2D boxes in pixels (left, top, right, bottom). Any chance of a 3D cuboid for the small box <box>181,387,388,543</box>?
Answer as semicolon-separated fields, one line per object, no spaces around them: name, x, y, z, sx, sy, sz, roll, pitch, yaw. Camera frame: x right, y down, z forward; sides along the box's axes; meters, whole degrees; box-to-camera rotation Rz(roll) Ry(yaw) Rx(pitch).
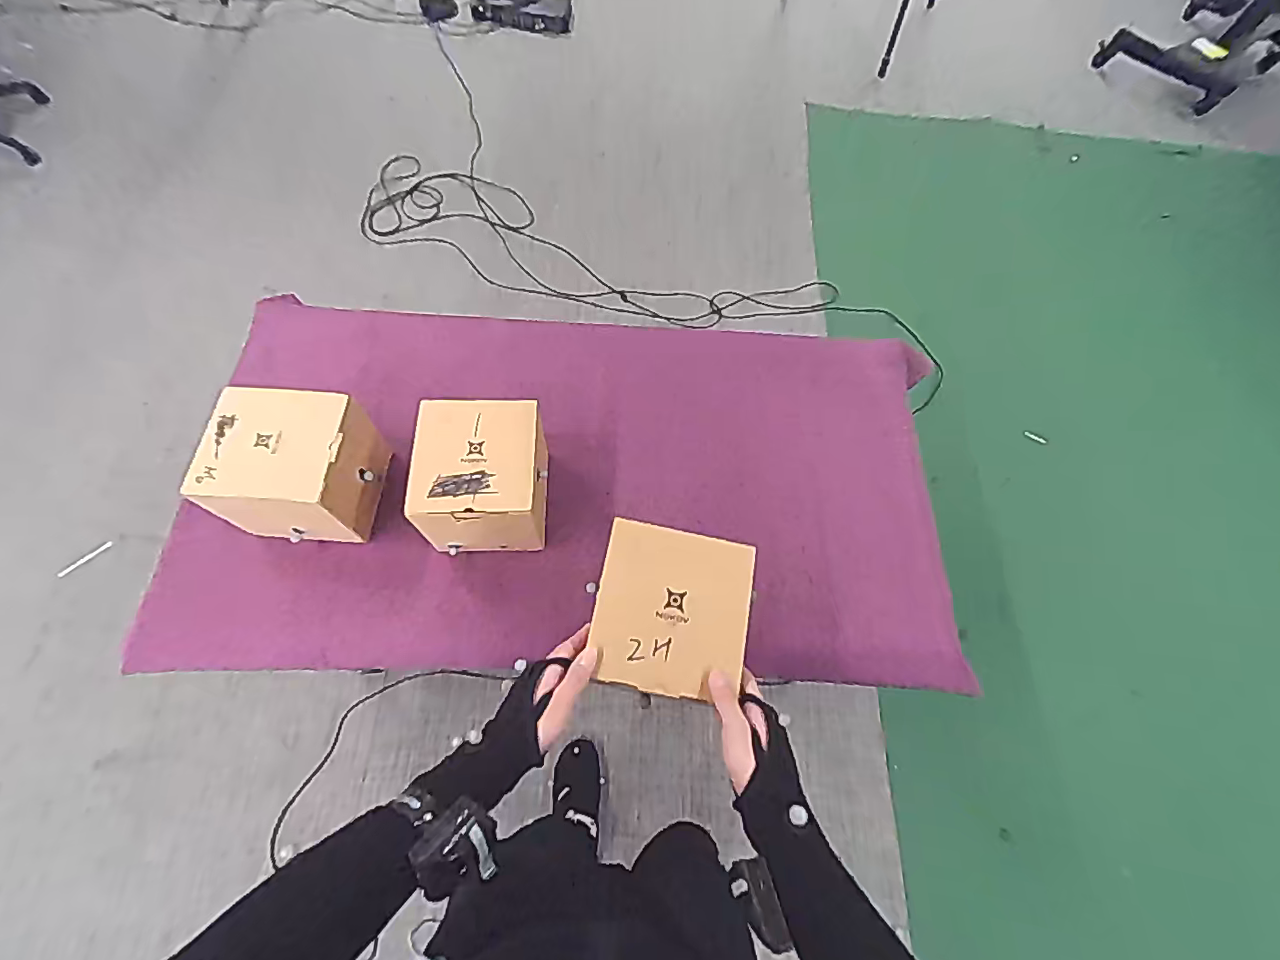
small box;-0.493;-0.014;0.786;0.179;0.176;0.168;5;65;-4

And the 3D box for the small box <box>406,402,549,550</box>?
small box;-0.226;0.002;0.801;0.168;0.176;0.179;0;65;-5

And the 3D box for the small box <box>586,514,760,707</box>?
small box;0.033;0.163;0.650;0.168;0.176;0.179;13;68;0
